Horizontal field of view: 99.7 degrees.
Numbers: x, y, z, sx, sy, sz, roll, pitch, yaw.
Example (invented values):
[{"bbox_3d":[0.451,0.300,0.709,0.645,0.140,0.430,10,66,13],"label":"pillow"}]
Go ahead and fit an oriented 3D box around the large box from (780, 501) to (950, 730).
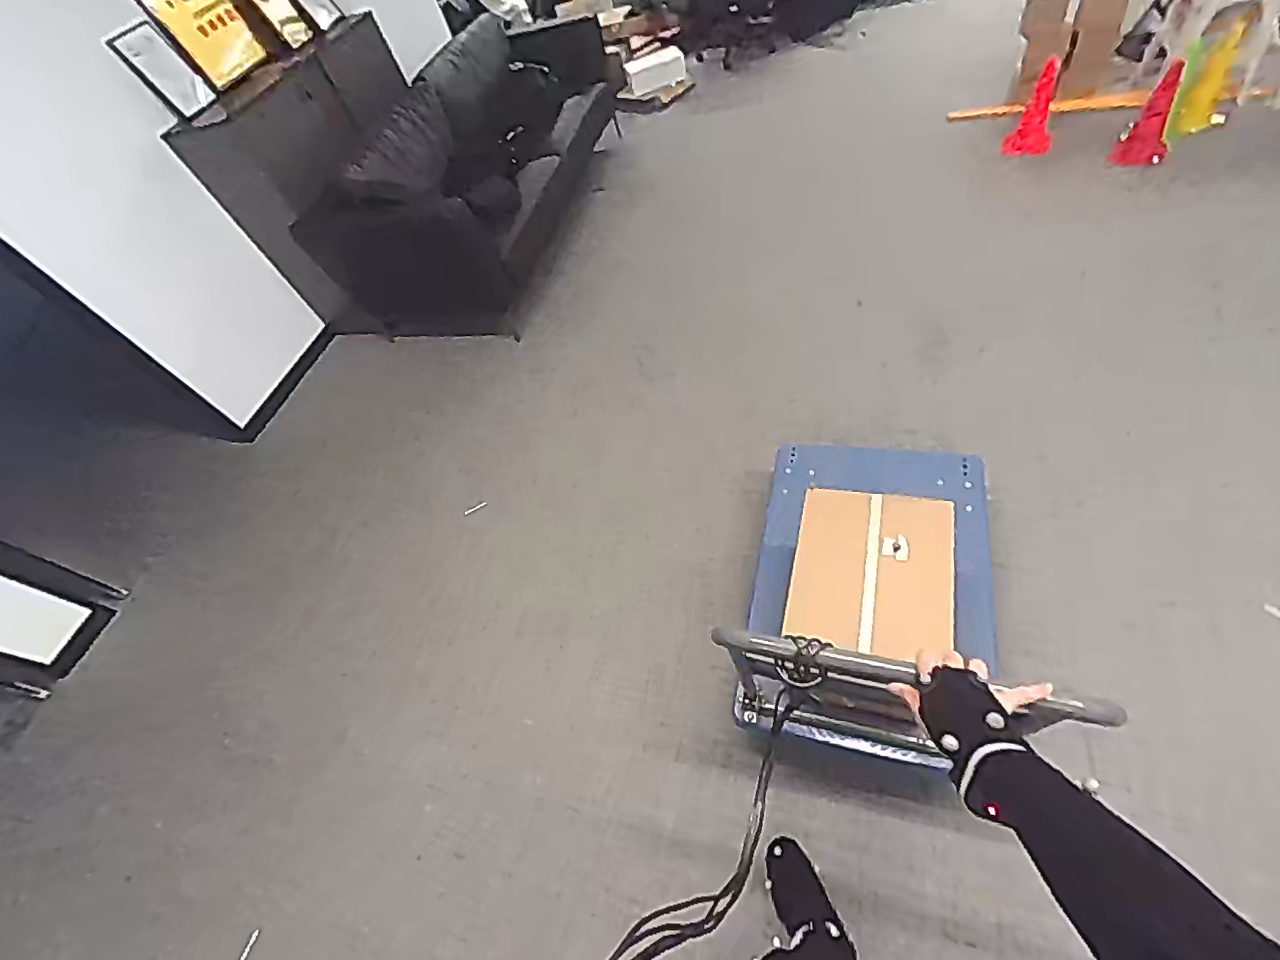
[{"bbox_3d":[0.519,0.310,1.265,0.320,0.320,0.408,7,55,21],"label":"large box"}]
